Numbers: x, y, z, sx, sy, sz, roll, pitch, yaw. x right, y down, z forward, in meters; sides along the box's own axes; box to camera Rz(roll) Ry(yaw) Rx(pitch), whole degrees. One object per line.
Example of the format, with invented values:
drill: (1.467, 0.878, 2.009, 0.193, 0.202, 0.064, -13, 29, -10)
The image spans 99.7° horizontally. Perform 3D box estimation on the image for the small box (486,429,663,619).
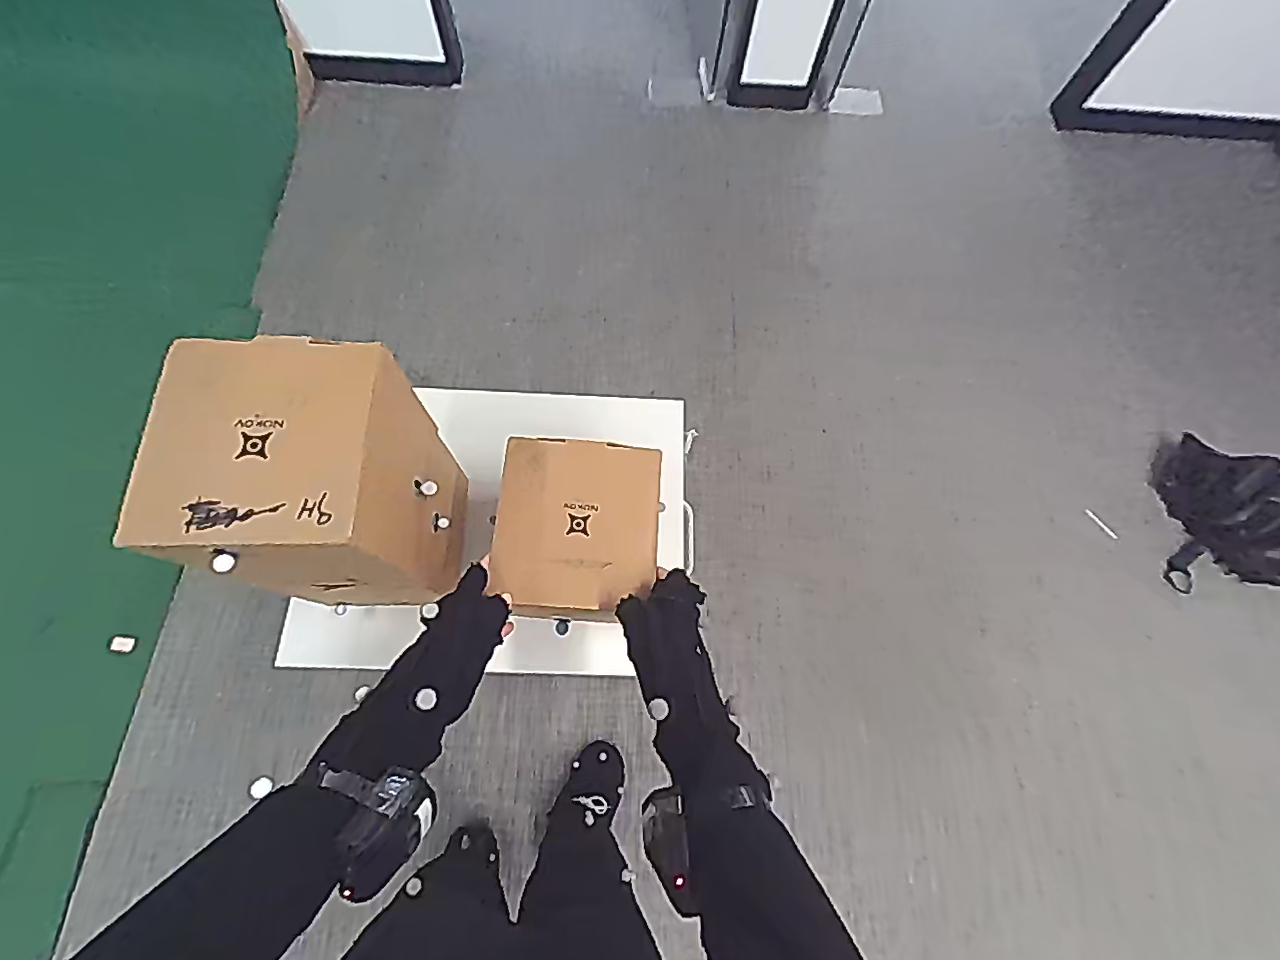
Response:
small box: (-0.068, 0.059, 0.614, 0.168, 0.176, 0.179, 4, 72, -4)

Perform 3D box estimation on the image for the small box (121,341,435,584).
small box: (-0.301, -0.006, 0.500, 0.168, 0.176, 0.179, 0, 69, -3)

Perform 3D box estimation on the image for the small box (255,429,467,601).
small box: (-0.315, 0.050, 0.653, 0.168, 0.176, 0.179, 0, 69, -4)
